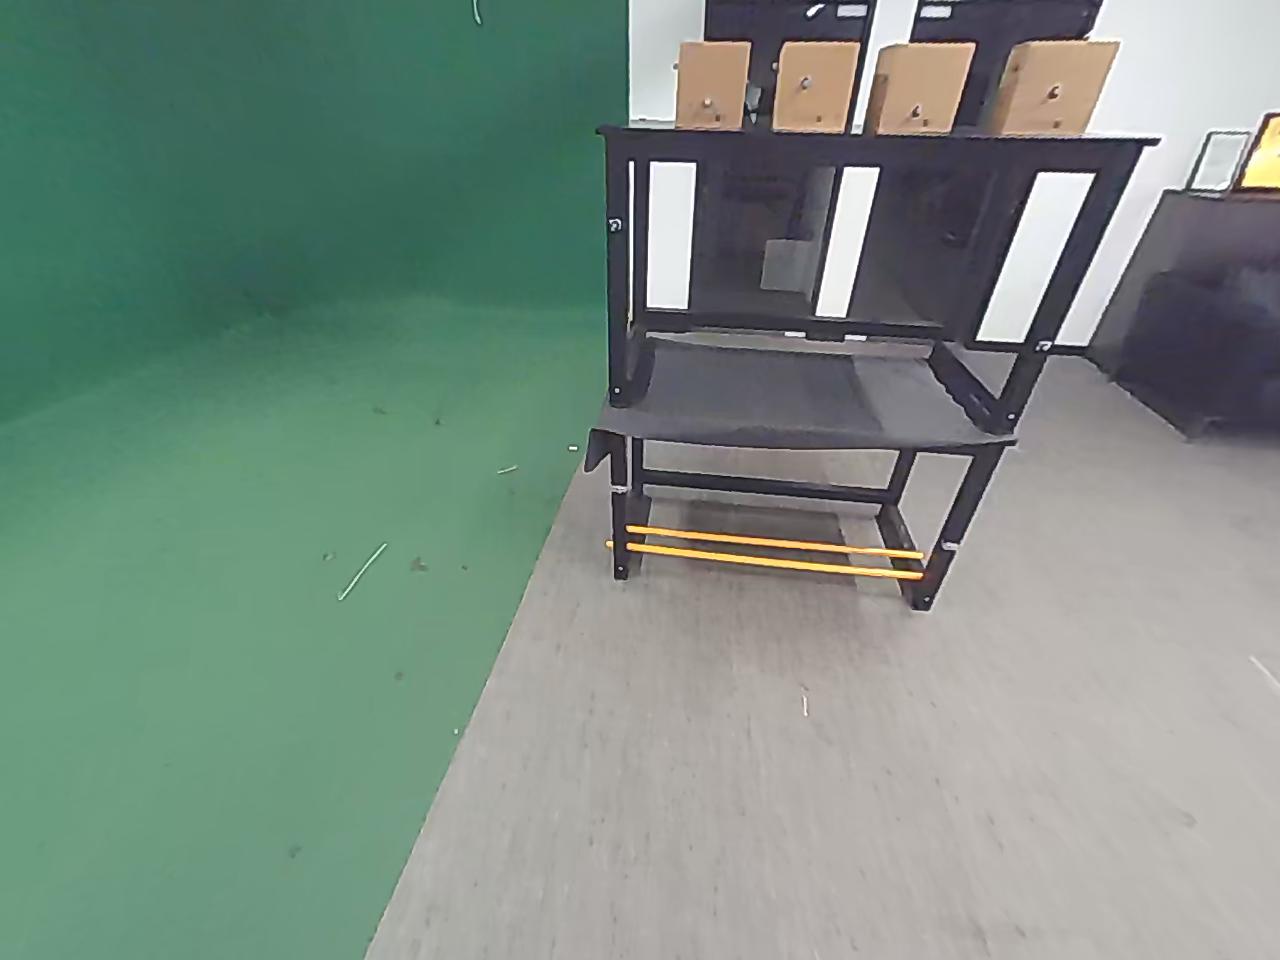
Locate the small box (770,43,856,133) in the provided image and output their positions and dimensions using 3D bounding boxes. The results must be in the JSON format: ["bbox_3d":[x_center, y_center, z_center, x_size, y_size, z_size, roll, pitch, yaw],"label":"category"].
[{"bbox_3d":[0.411,-0.941,1.308,0.168,0.176,0.179,6,35,8],"label":"small box"}]

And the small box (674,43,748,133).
[{"bbox_3d":[0.171,-0.975,1.350,0.168,0.176,0.179,2,36,3],"label":"small box"}]

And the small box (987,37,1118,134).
[{"bbox_3d":[0.916,-0.884,1.222,0.168,0.176,0.179,11,36,14],"label":"small box"}]
